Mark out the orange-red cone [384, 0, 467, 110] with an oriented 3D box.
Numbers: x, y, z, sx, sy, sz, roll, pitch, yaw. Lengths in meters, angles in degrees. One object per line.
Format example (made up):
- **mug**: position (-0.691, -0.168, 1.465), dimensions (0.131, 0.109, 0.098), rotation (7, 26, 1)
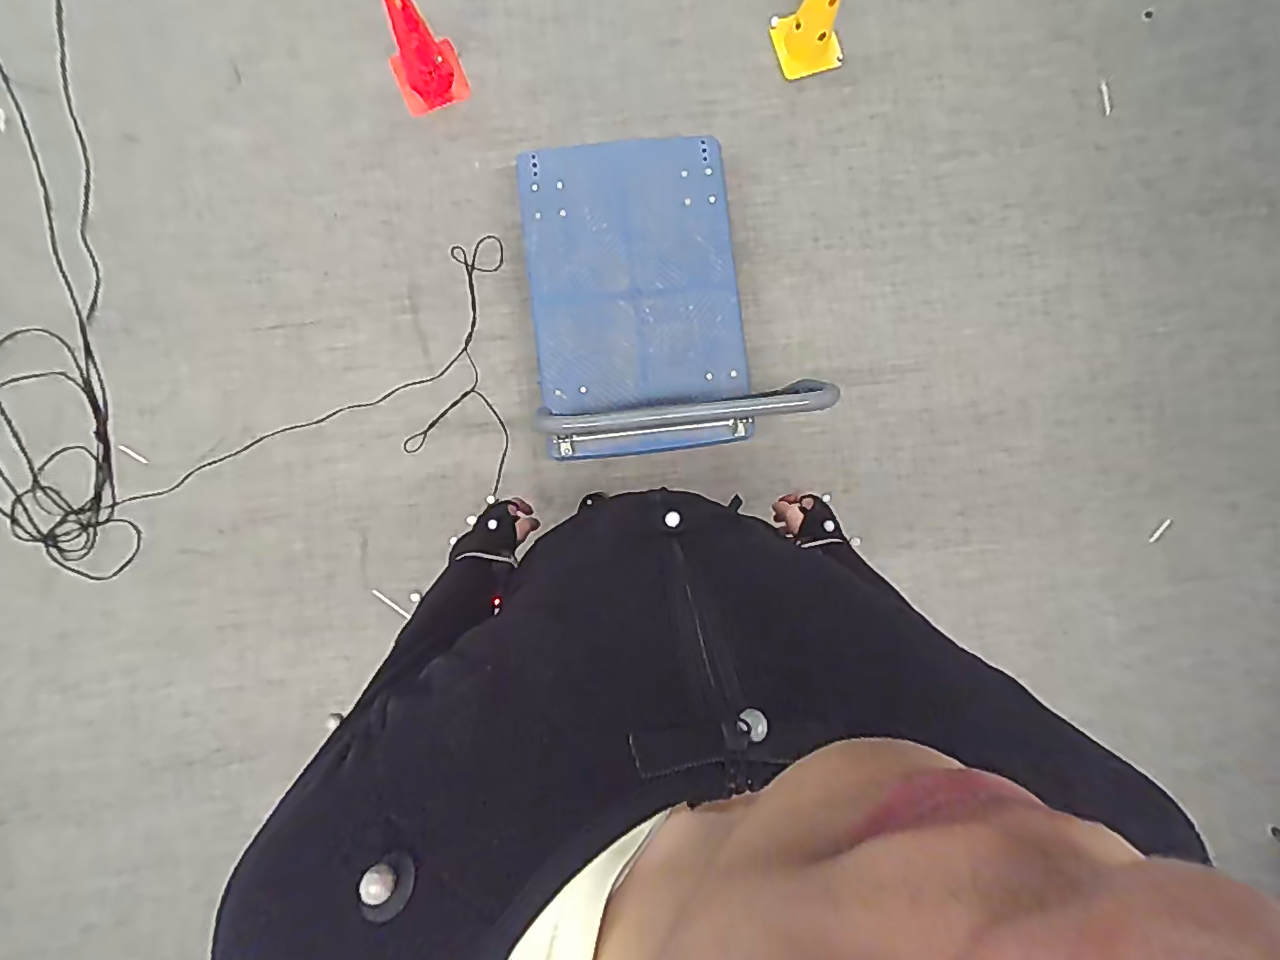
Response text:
- **orange-red cone**: position (-0.644, -1.255, 1.489), dimensions (0.199, 0.360, 0.198), rotation (-22, 88, -2)
